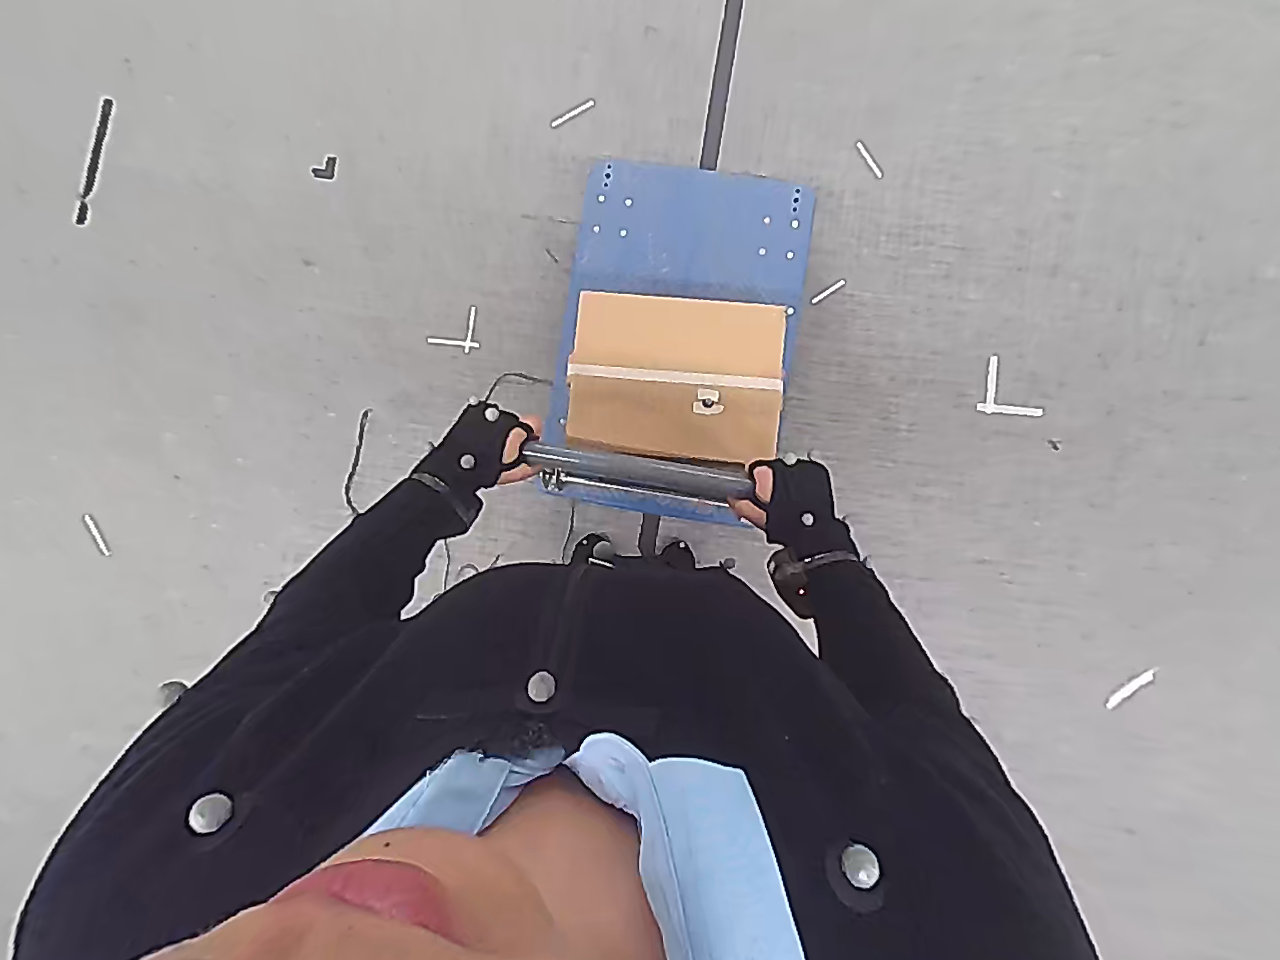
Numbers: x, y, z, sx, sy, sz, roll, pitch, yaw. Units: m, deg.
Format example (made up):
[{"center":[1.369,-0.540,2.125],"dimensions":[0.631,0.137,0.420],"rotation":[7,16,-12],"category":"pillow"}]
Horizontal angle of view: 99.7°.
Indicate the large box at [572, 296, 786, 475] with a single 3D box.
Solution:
[{"center":[0.078,-0.187,1.196],"dimensions":[0.408,0.320,0.320],"rotation":[5,87,2],"category":"large box"}]
